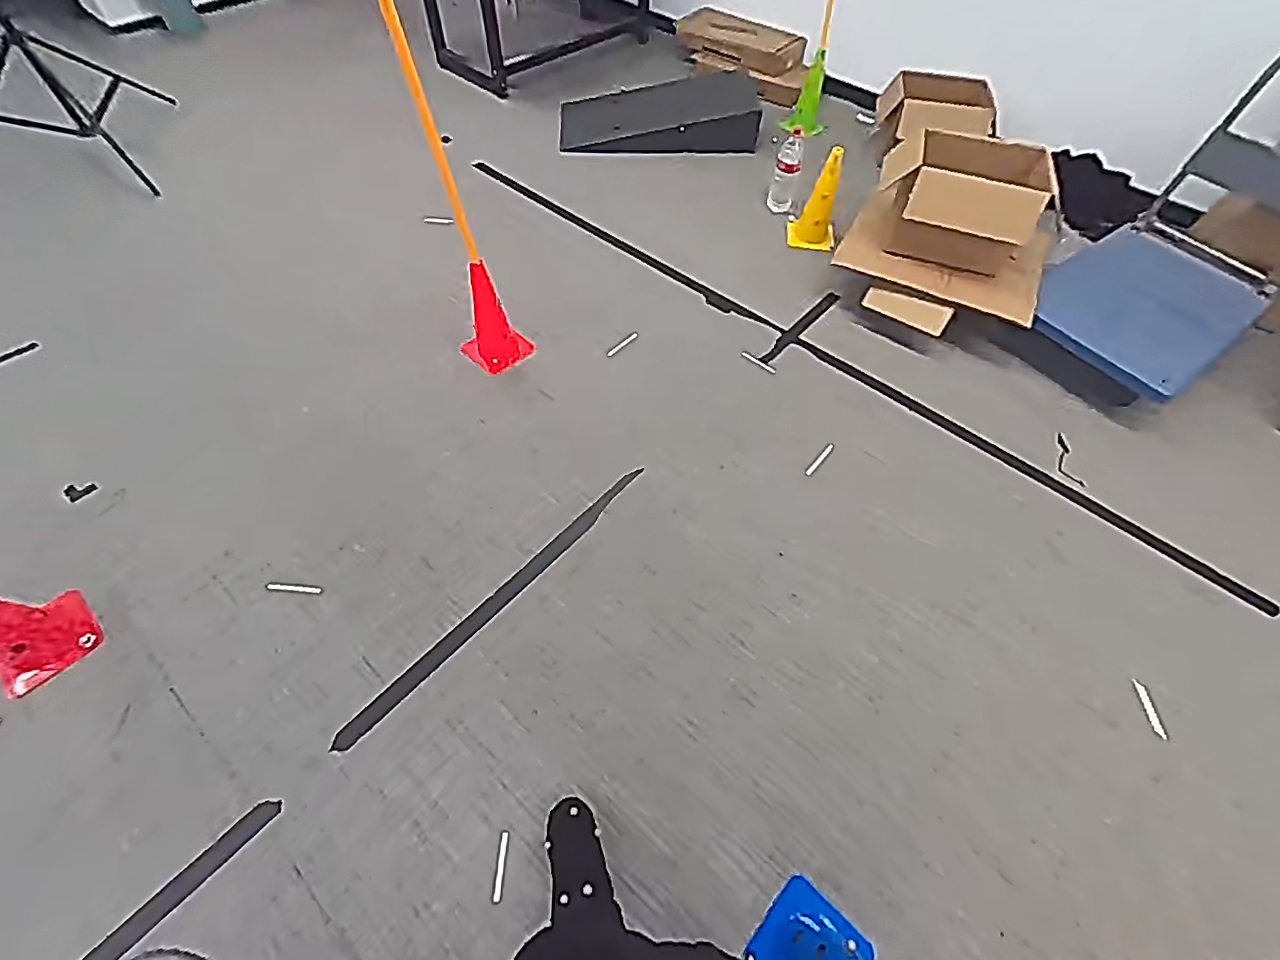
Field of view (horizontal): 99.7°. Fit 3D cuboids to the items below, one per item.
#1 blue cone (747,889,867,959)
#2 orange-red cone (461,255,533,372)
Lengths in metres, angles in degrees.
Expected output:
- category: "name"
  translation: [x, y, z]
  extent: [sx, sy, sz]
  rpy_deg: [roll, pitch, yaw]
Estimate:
- category: "blue cone"
  translation: [0.333, 0.848, 0.911]
  extent: [0.192, 0.380, 0.193]
  rpy_deg: [-40, 67, -23]
- category: "orange-red cone"
  translation: [-0.497, -0.566, 1.763]
  extent: [0.198, 0.360, 0.199]
  rpy_deg: [41, 63, 21]
